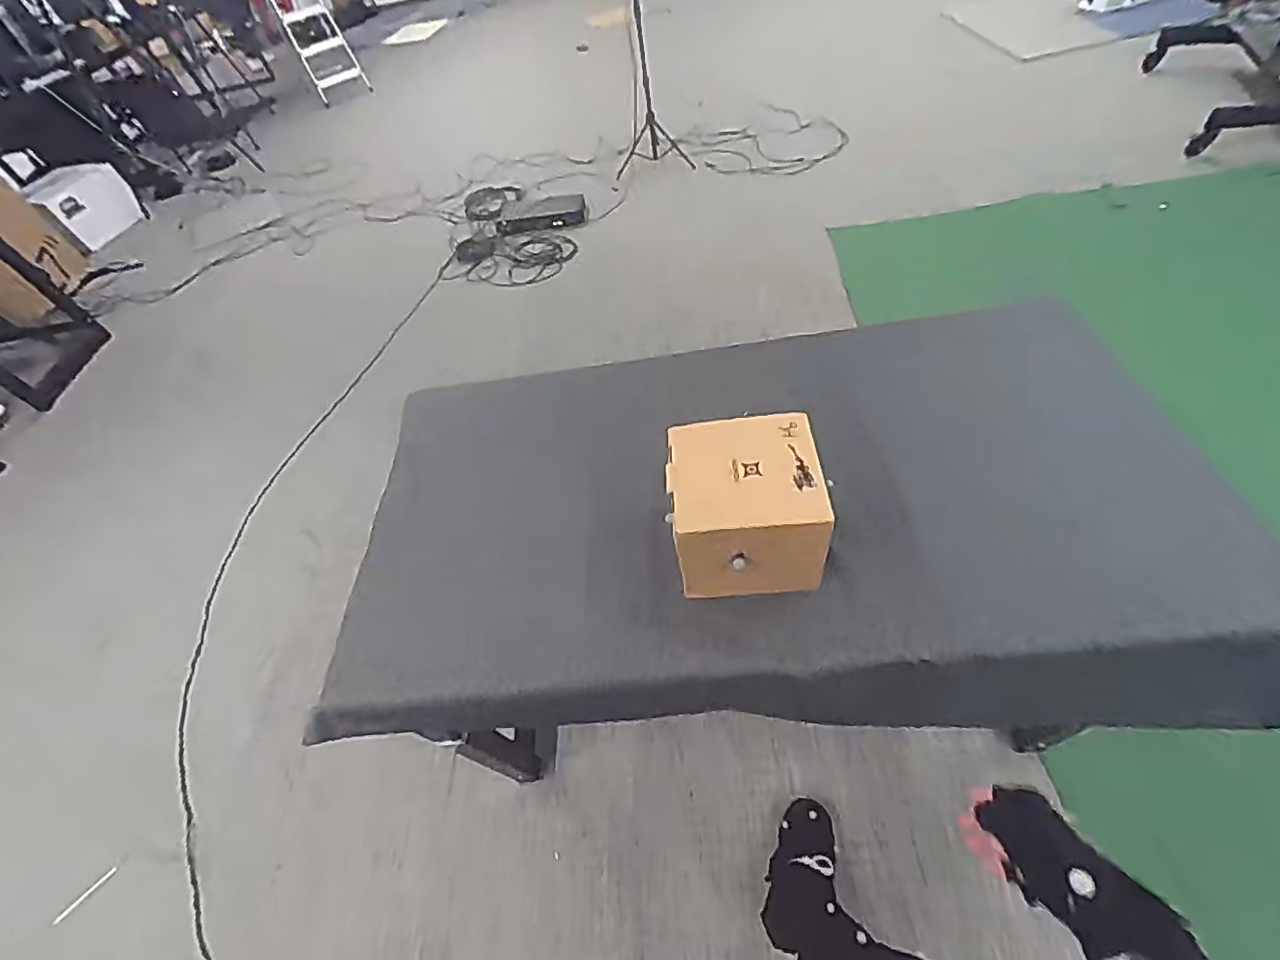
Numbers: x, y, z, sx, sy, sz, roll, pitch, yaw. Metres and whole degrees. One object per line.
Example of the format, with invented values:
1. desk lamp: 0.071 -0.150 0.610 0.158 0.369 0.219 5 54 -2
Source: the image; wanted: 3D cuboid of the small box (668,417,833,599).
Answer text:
1. small box: 0.138 0.043 0.710 0.179 0.176 0.168 -7 50 5
